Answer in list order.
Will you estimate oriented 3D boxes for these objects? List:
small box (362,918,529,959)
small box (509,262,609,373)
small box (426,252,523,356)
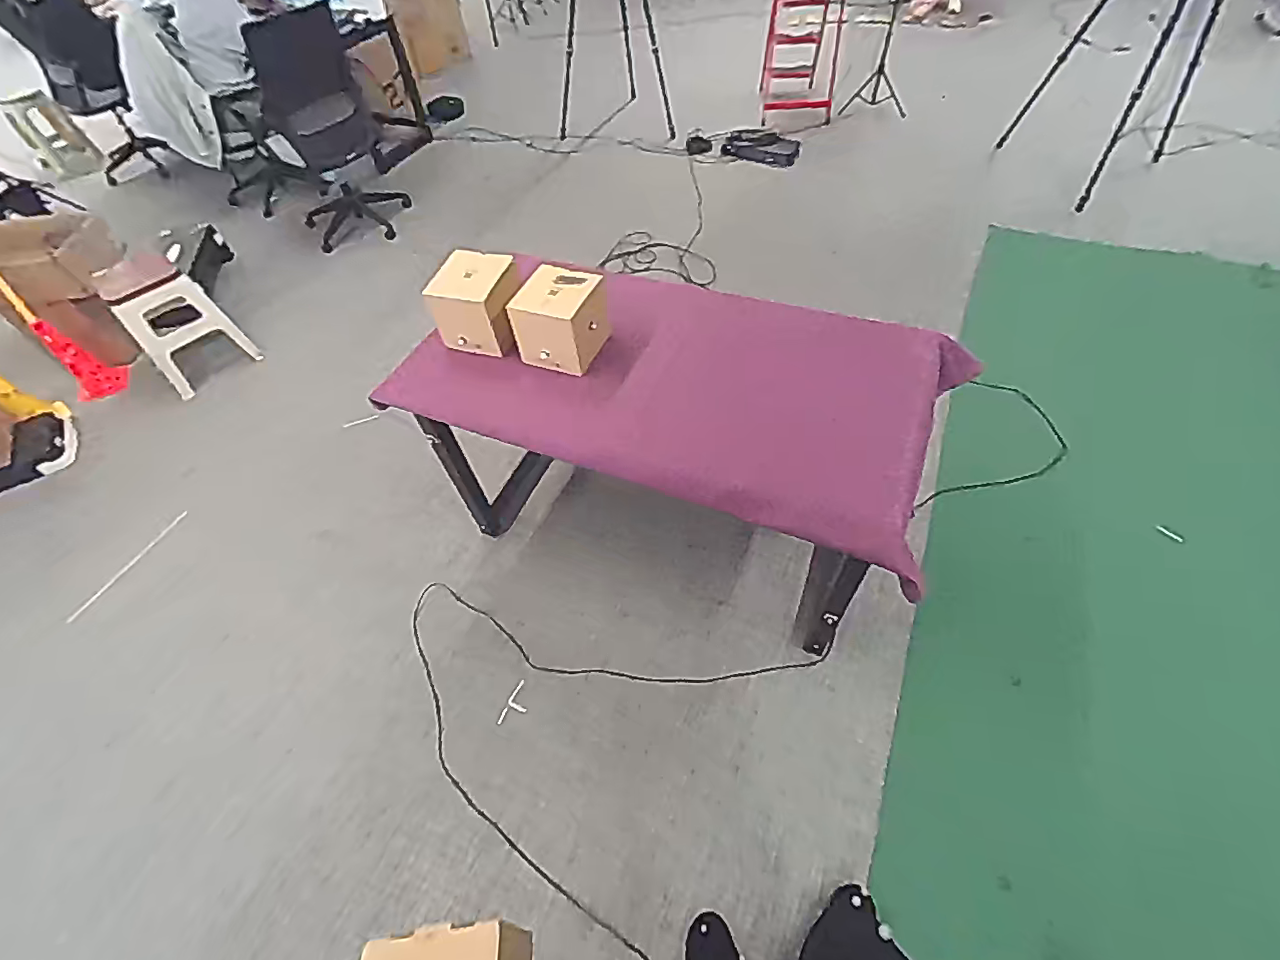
[{"bbox_3d":[-0.233,0.659,0.648,0.168,0.176,0.179,-10,45,0],"label":"small box"},{"bbox_3d":[-0.184,-0.387,1.293,0.168,0.176,0.179,16,58,17],"label":"small box"},{"bbox_3d":[-0.396,-0.442,1.356,0.168,0.176,0.179,12,57,15],"label":"small box"}]
